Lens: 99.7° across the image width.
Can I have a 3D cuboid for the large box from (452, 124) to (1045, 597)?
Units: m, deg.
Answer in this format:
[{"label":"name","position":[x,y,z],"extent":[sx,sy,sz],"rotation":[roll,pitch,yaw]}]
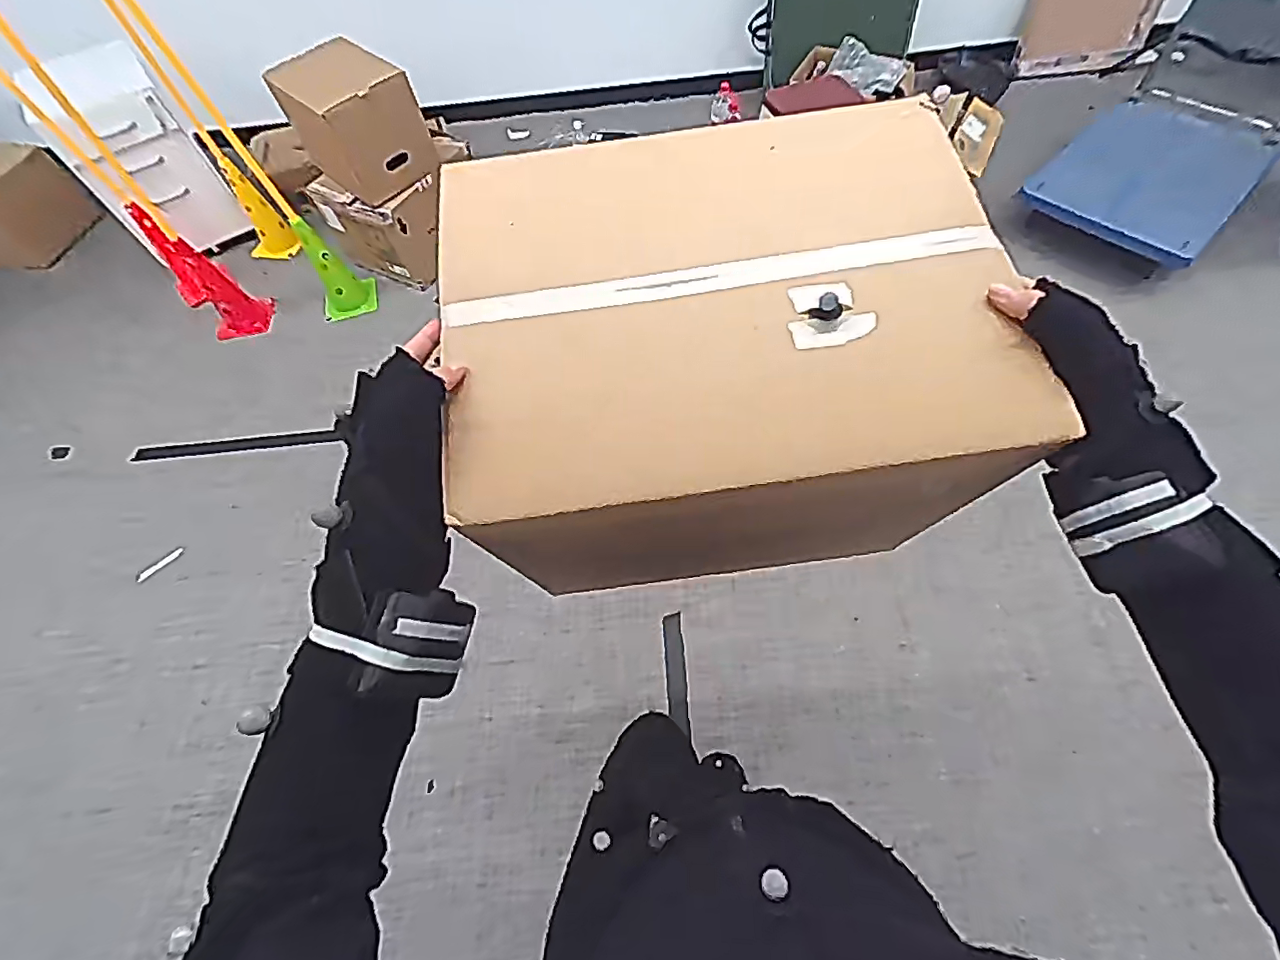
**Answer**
[{"label":"large box","position":[0.061,-0.085,0.551],"extent":[0.408,0.320,0.320],"rotation":[-9,69,0]}]
